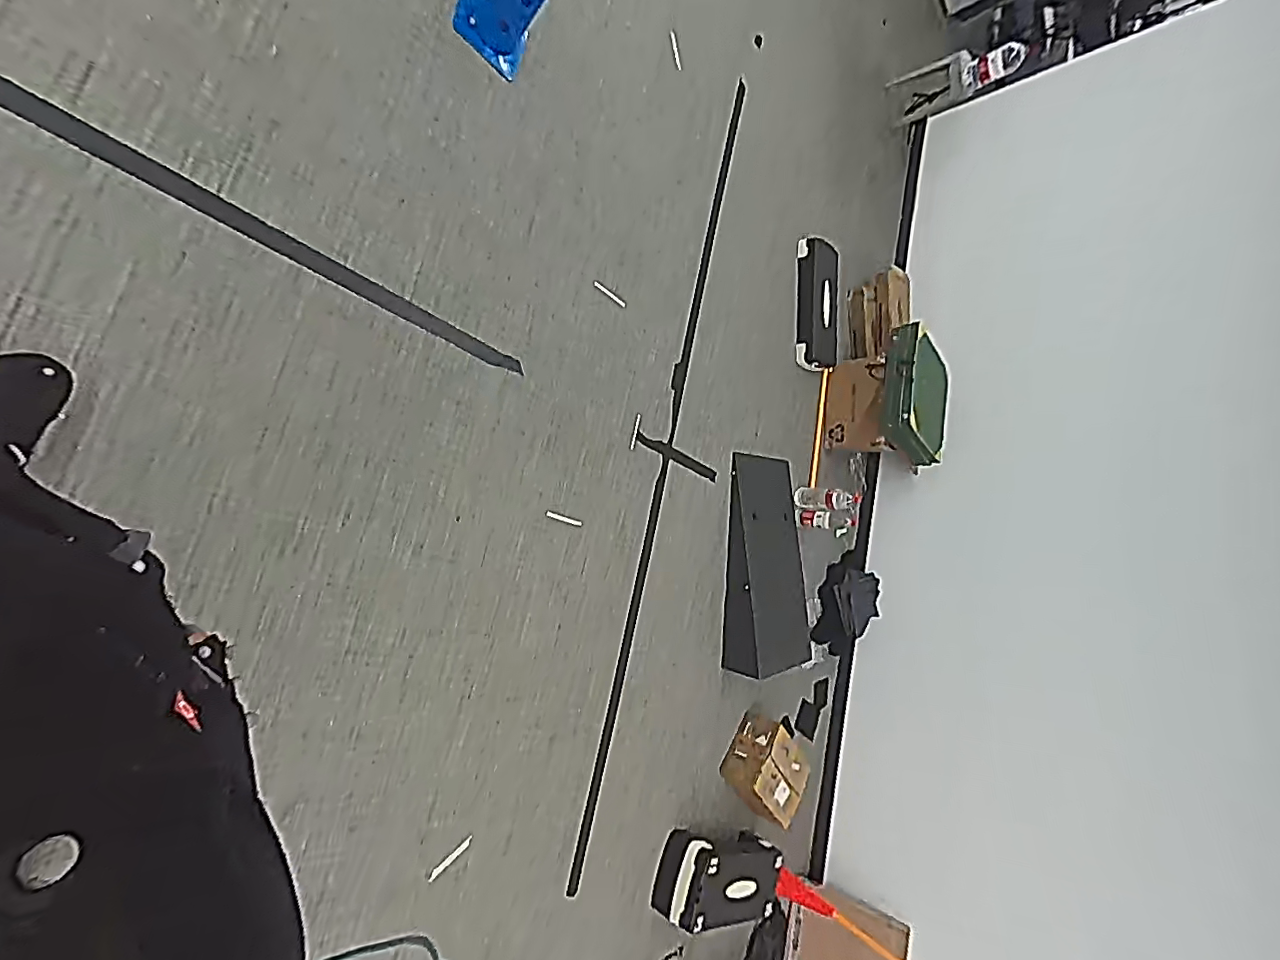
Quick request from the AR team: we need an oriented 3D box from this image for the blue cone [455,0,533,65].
[{"bbox_3d":[-0.304,-1.299,1.409,0.193,0.380,0.192,25,73,-44],"label":"blue cone"}]
